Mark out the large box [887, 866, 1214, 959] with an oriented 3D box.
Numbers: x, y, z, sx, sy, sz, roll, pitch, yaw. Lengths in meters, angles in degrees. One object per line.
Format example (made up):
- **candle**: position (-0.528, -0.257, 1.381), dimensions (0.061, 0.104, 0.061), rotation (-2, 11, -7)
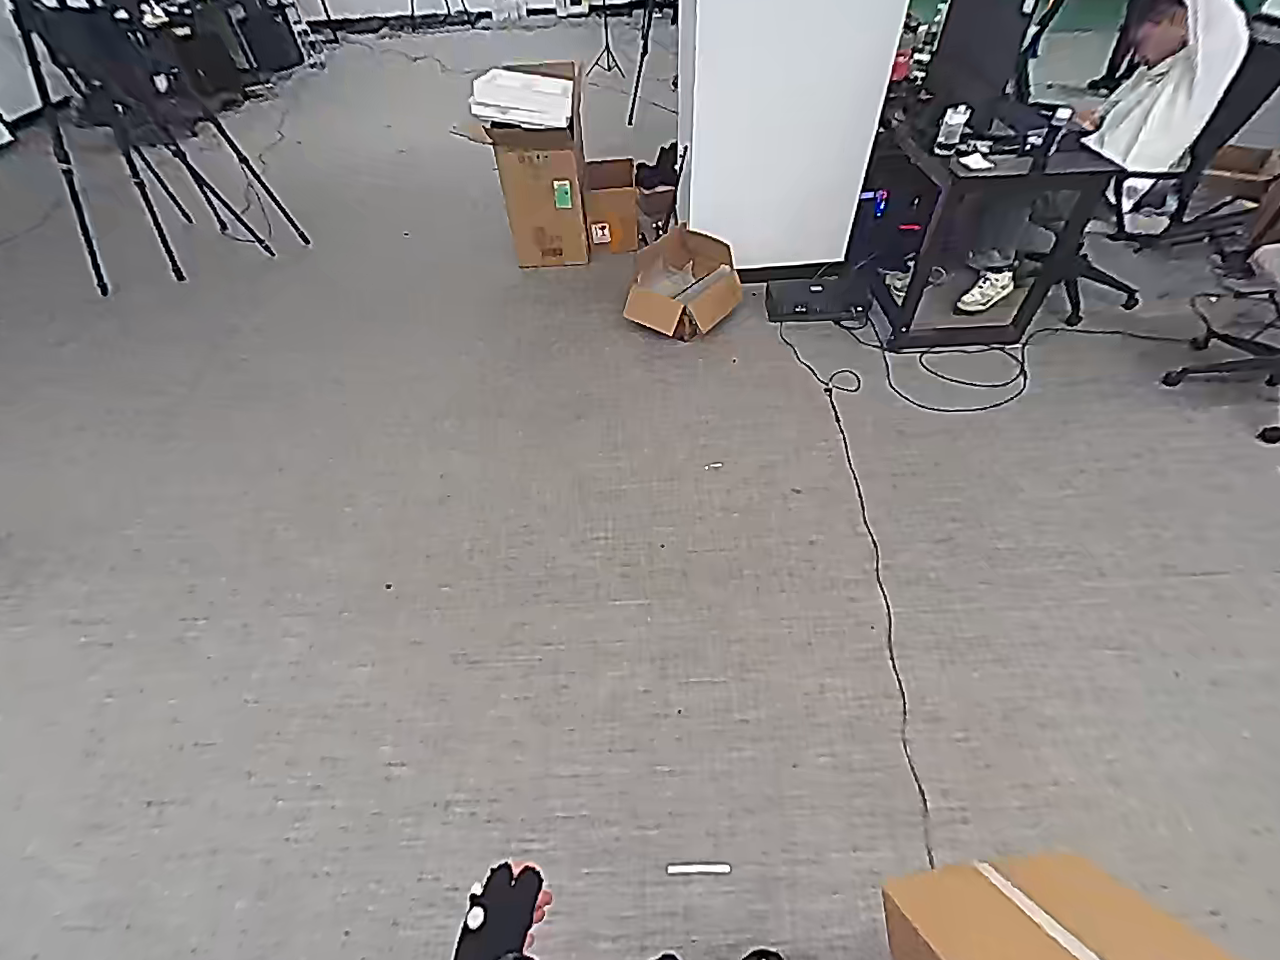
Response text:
- **large box**: position (0.540, 0.726, 0.604), dimensions (0.320, 0.408, 0.320), rotation (-5, 84, -5)
